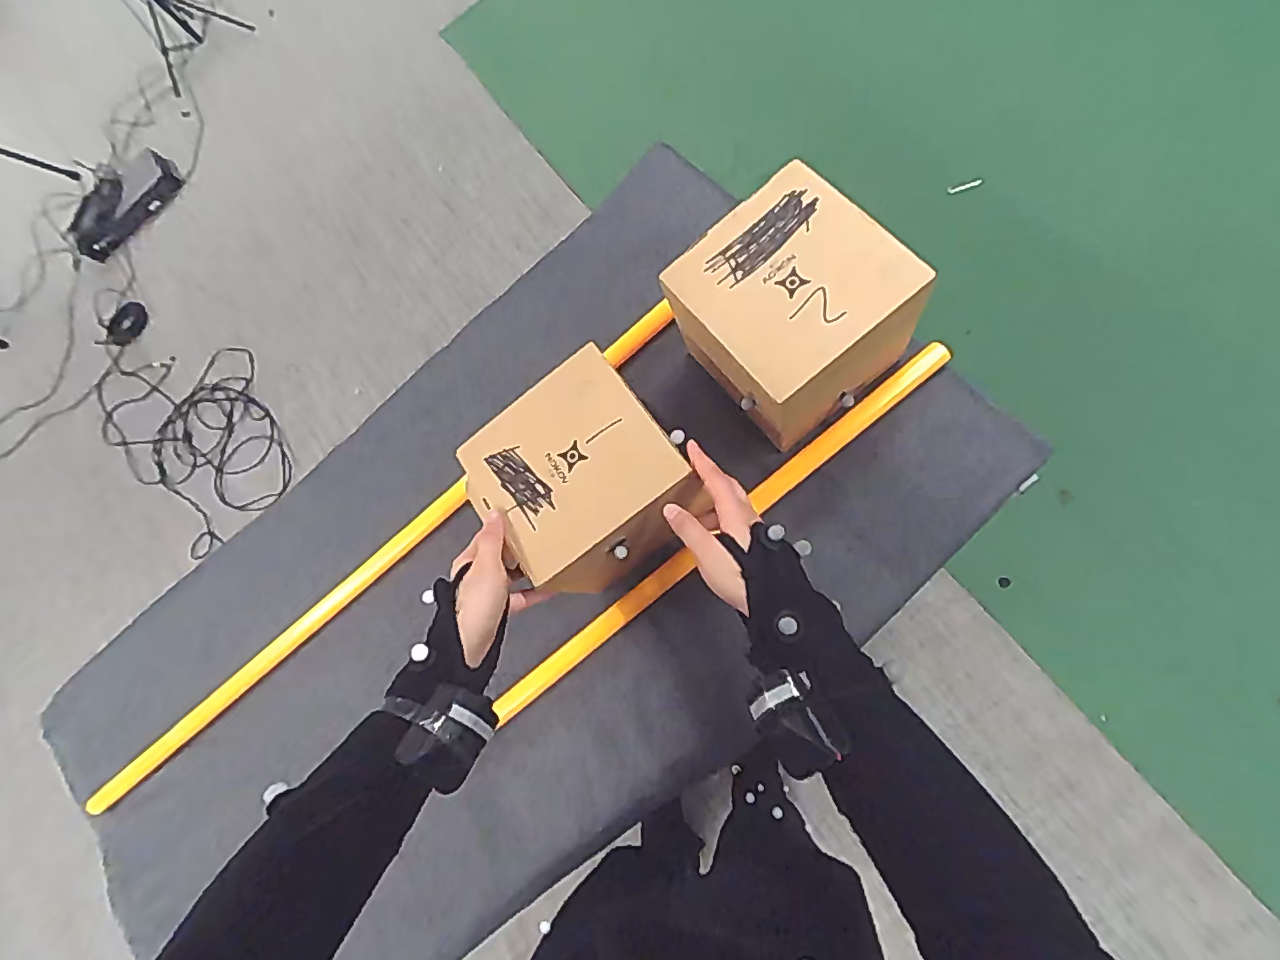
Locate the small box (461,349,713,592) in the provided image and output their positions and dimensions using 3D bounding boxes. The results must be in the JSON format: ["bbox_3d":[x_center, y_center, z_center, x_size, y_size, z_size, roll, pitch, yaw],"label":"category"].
[{"bbox_3d":[-0.044,0.005,0.569,0.179,0.176,0.168,-38,71,5],"label":"small box"}]
